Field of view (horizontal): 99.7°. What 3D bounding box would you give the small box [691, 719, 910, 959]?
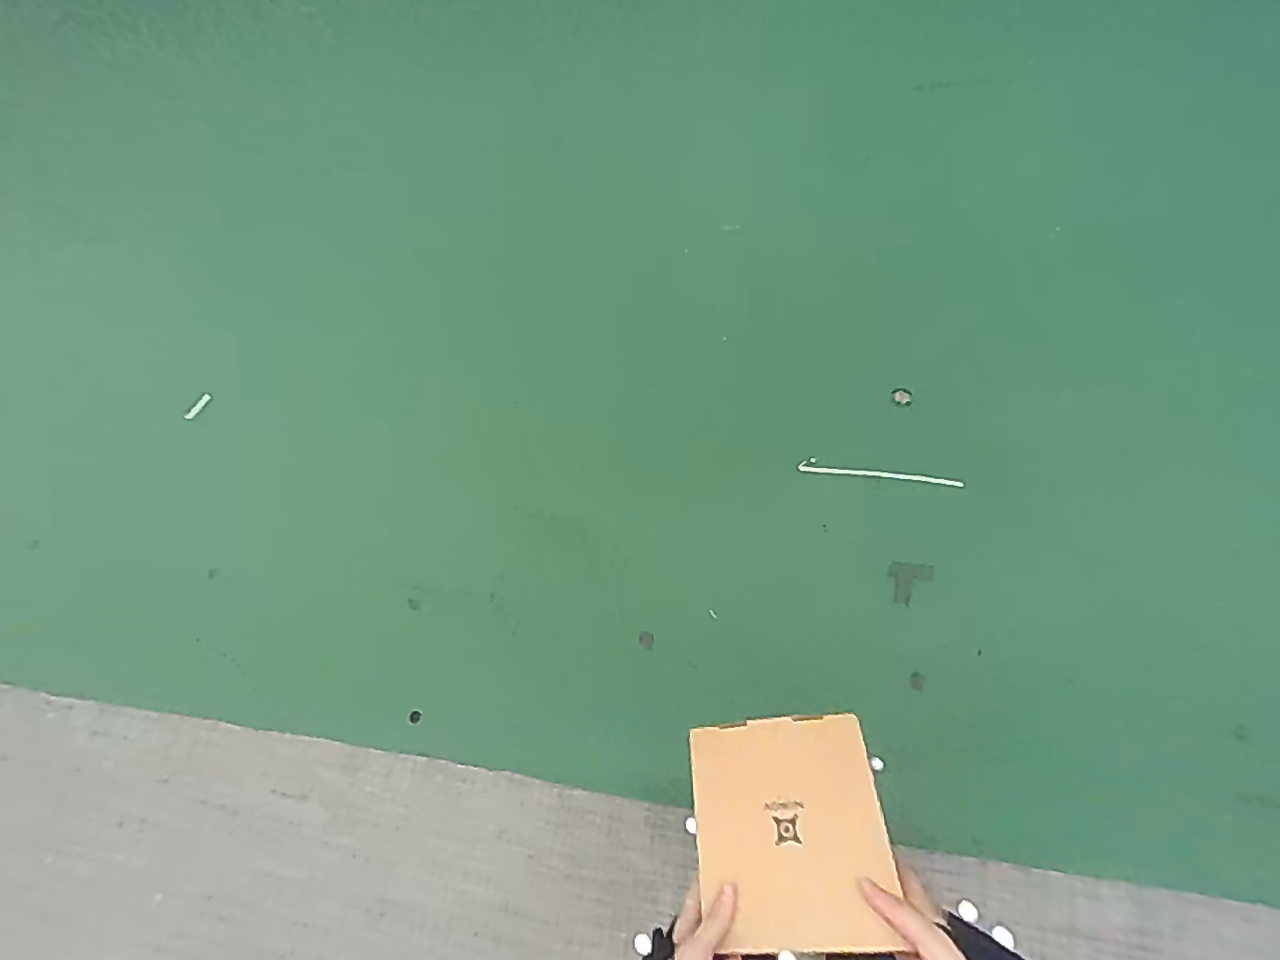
[{"bbox_3d":[0.152,0.359,0.539,0.168,0.176,0.179,-11,48,12],"label":"small box"}]
